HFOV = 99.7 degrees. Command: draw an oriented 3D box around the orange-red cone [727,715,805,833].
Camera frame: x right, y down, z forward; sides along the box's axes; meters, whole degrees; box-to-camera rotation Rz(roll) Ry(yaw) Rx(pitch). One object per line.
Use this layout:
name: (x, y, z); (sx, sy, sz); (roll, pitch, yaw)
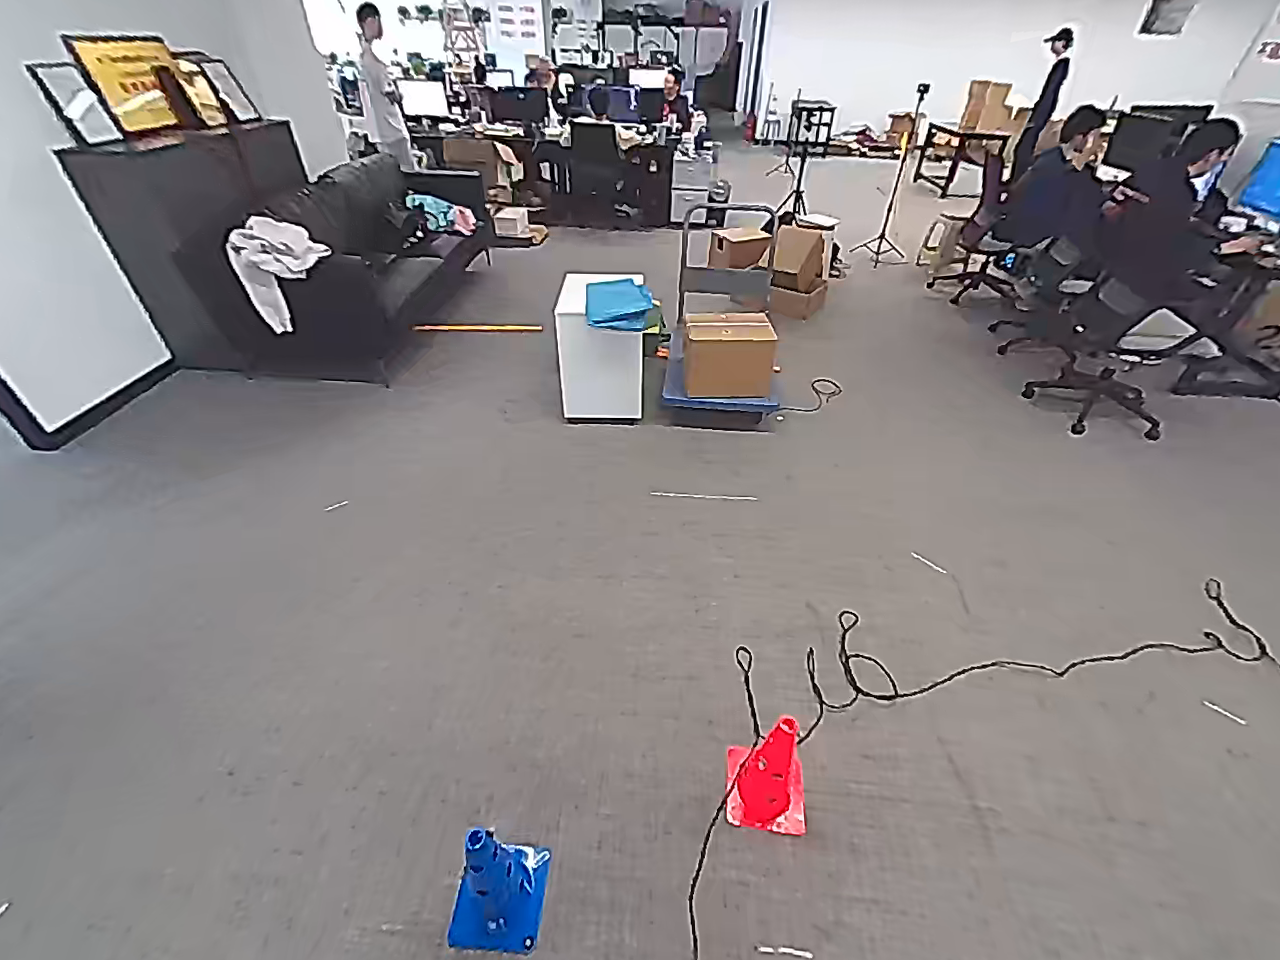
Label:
orange-red cone: (0.330, 0.682, 1.322); (0.198, 0.360, 0.199); (6, 40, 7)
